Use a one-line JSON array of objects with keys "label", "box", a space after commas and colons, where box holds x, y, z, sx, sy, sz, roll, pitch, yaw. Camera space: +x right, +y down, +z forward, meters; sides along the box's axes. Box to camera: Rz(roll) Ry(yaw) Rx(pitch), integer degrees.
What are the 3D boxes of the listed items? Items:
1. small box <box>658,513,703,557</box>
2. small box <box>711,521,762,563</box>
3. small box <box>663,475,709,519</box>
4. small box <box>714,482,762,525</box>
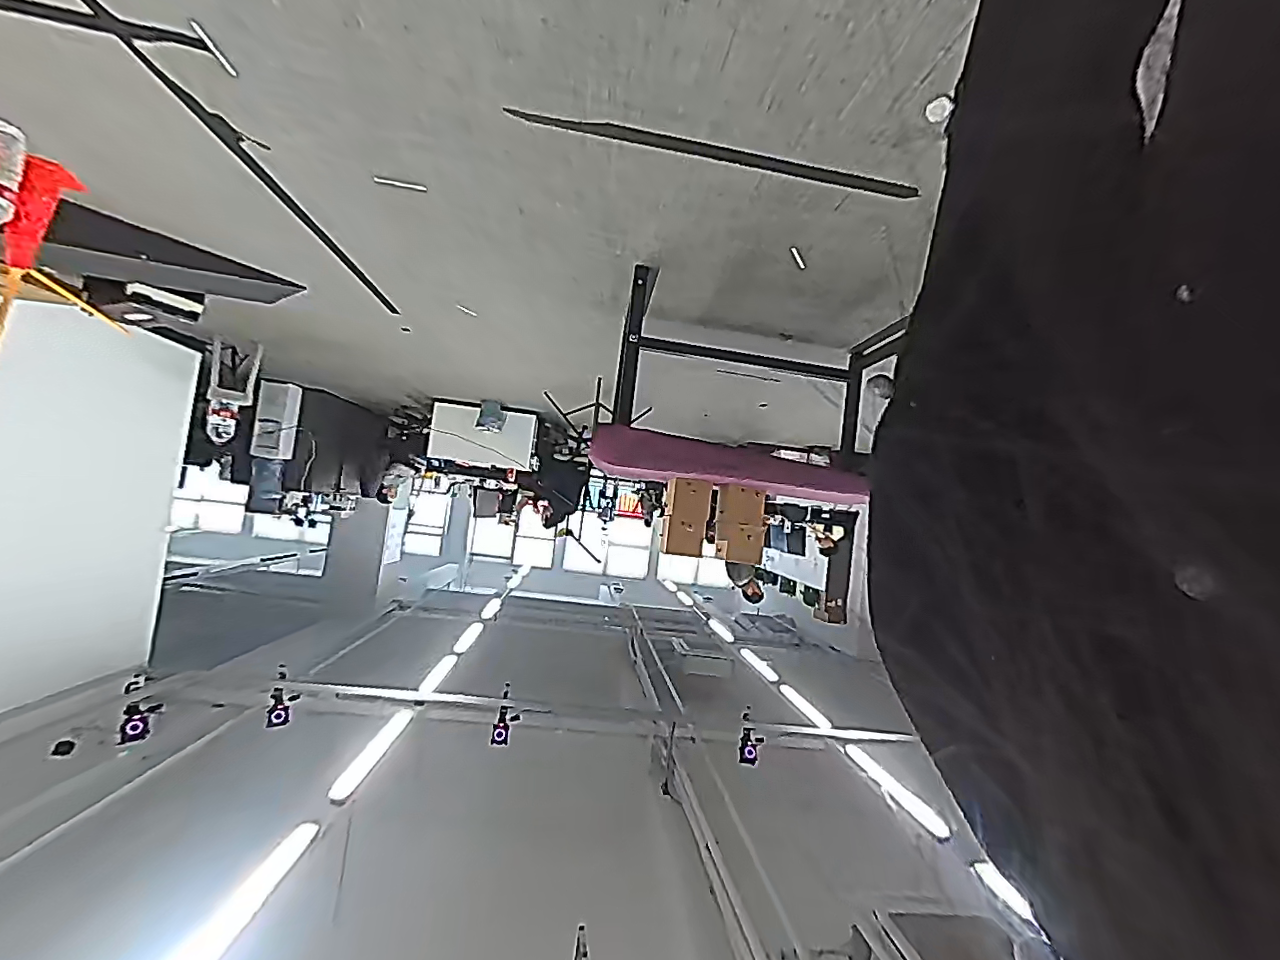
[{"label": "small box", "box": [0.177, 0.236, 2.365, 0.168, 0.176, 0.179, 6, 175, -5]}, {"label": "small box", "box": [0.426, 0.266, 2.376, 0.168, 0.176, 0.179, 7, 175, -9]}, {"label": "small box", "box": [0.202, 0.076, 2.371, 0.168, 0.176, 0.179, 6, 176, -7]}, {"label": "small box", "box": [0.432, 0.103, 2.379, 0.168, 0.176, 0.179, 7, 177, -7]}]
